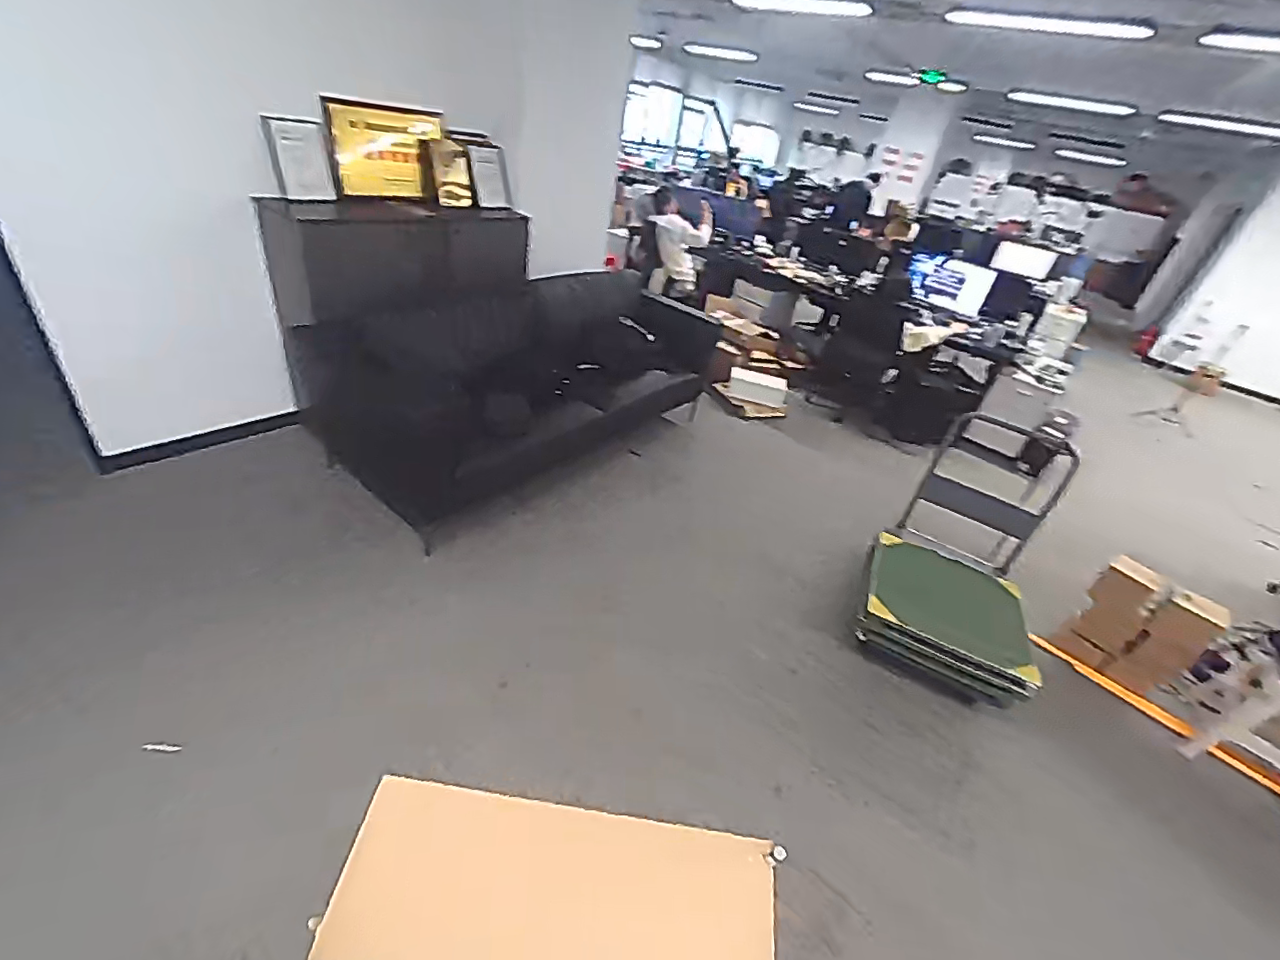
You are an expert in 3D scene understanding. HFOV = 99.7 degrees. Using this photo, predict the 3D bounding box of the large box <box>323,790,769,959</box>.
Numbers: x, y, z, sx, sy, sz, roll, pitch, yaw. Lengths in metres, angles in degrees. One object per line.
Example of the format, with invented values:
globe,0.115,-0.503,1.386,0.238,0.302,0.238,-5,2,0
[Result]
large box,-0.098,0.556,0.570,0.408,0.320,0.320,8,50,0
